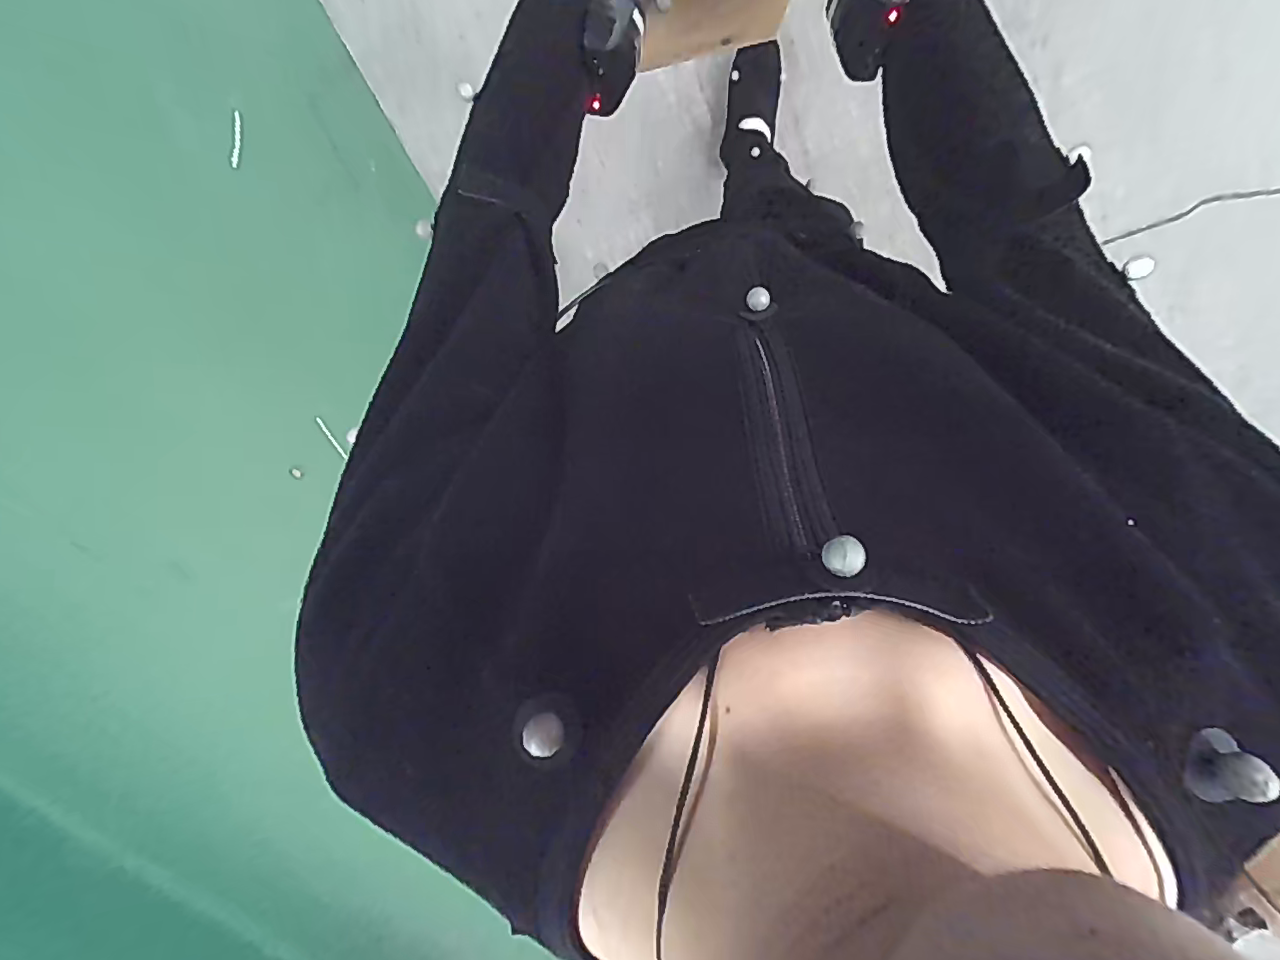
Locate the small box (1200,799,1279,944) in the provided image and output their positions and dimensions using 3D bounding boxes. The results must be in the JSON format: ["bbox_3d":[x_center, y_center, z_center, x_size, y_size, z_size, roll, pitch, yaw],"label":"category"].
[{"bbox_3d":[1.256,0.750,1.044,0.179,0.176,0.168,-26,113,15],"label":"small box"}]
